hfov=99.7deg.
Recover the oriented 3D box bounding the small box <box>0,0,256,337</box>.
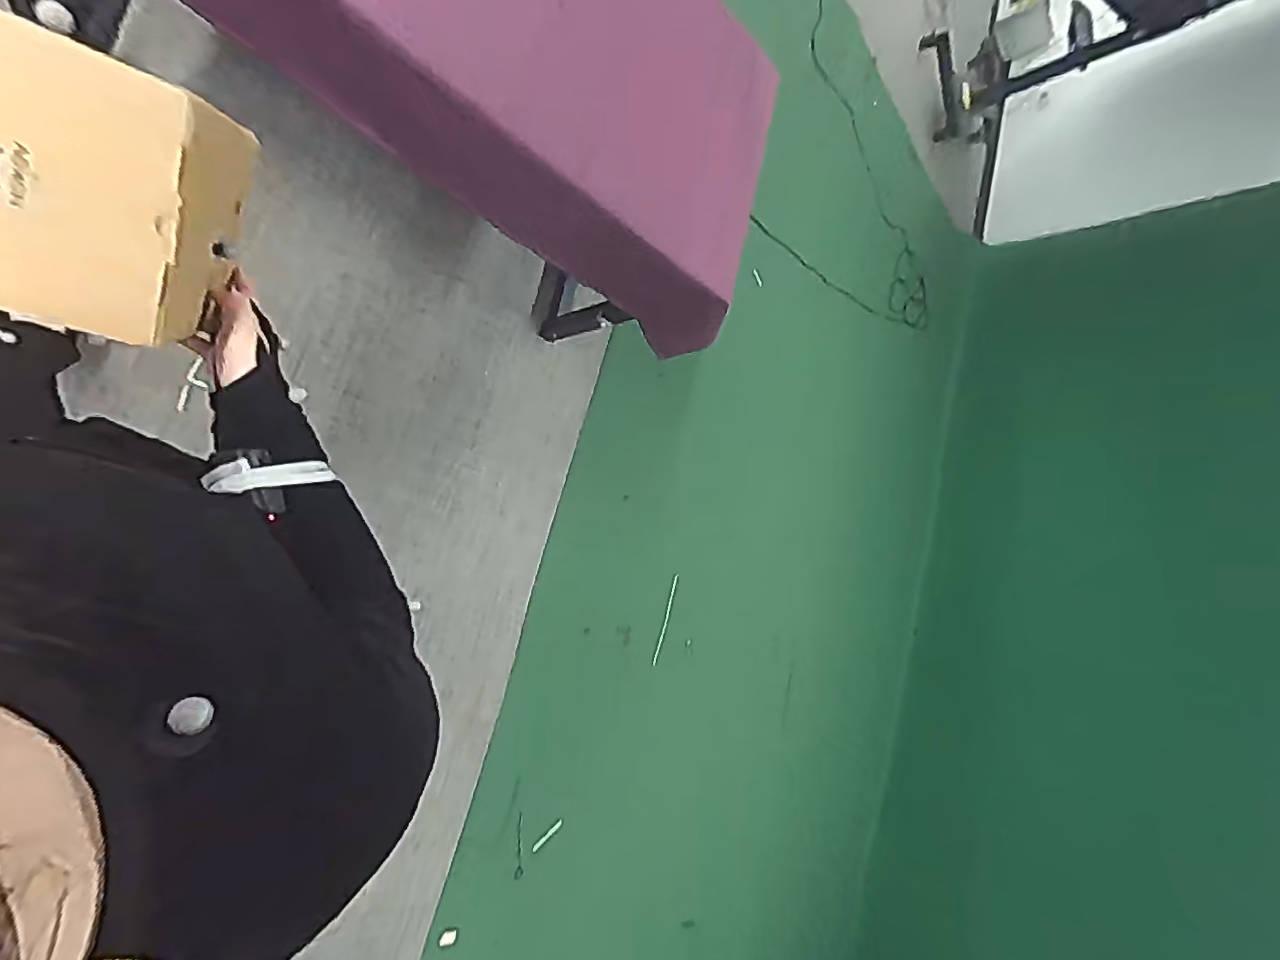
[{"bbox_3d":[-0.407,-0.219,0.384,0.179,0.176,0.168,13,107,-29],"label":"small box"}]
